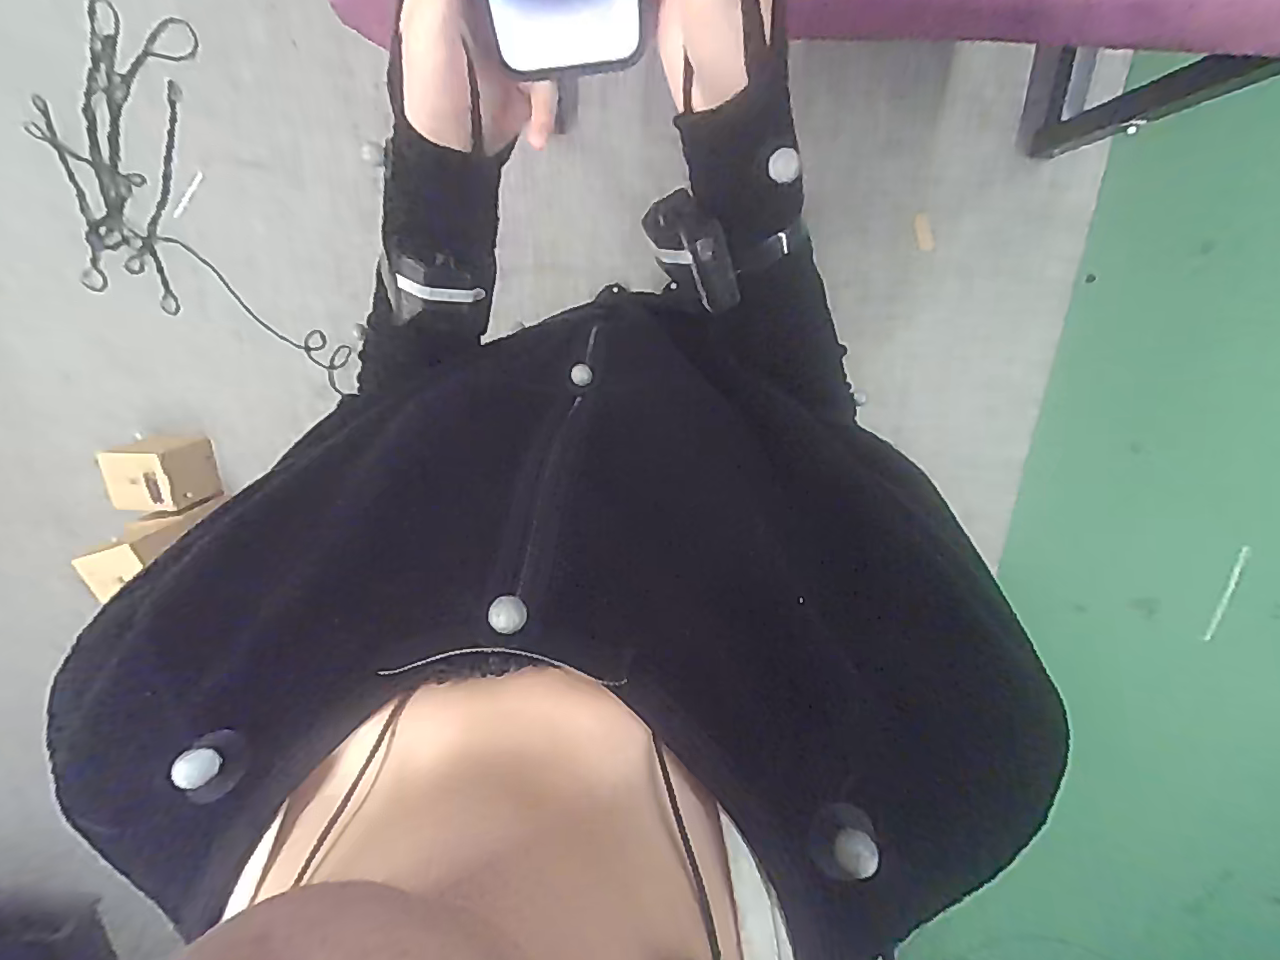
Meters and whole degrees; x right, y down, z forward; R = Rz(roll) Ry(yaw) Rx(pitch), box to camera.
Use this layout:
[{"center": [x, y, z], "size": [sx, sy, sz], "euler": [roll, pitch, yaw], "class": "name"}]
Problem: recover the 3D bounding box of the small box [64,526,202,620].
[{"center": [-1.301, 0.236, 1.410], "size": [0.179, 0.176, 0.168], "euler": [-15, 108, 8], "class": "small box"}]
